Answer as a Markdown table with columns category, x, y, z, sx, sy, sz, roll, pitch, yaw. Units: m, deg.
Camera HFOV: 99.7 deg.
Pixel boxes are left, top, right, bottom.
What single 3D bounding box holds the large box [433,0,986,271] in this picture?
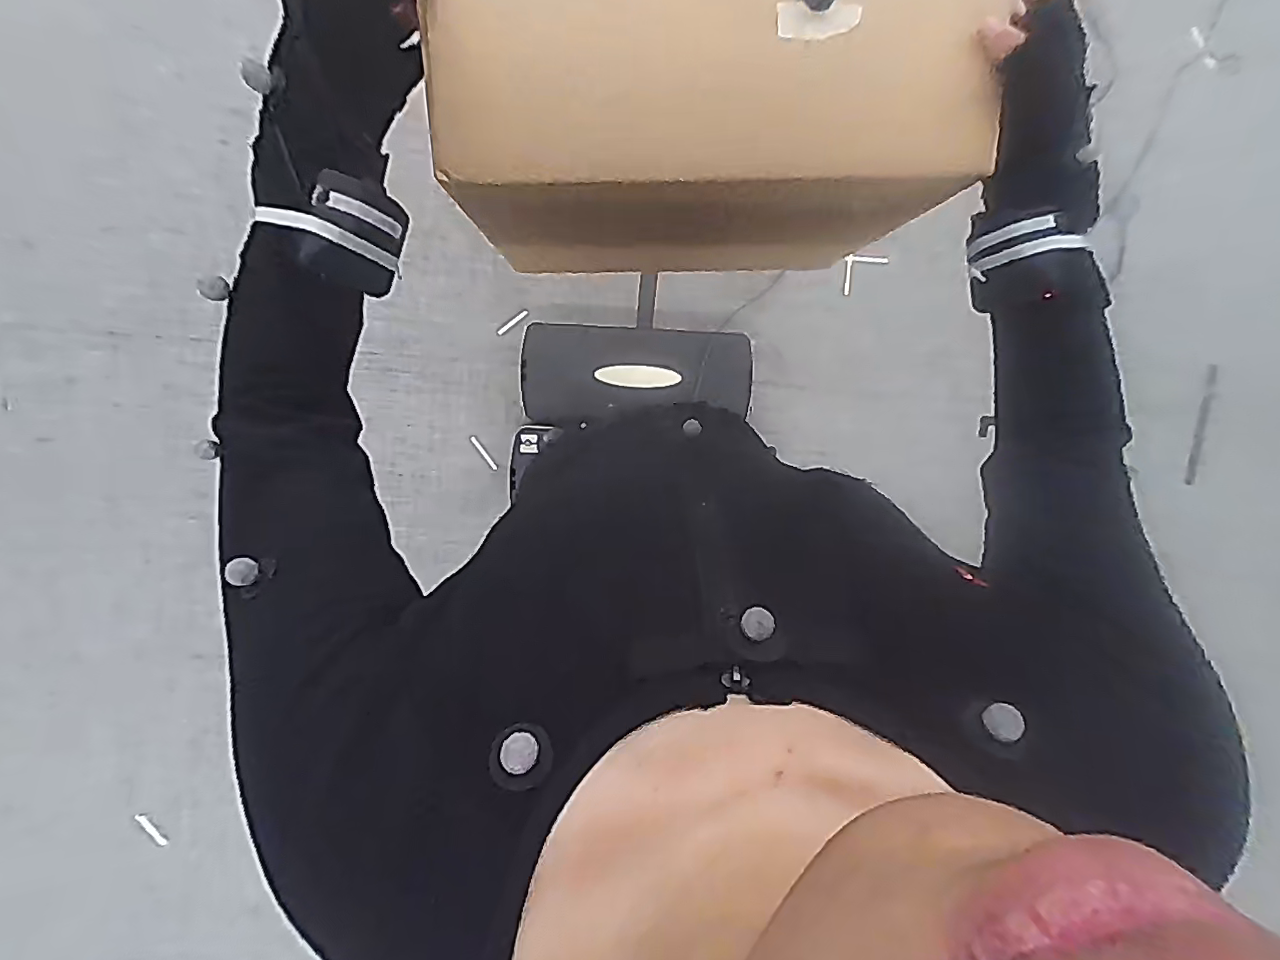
| category | x | y | z | sx | sy | sz | roll | pitch | yaw |
| --- | --- | --- | --- | --- | --- | --- | --- | --- | --- |
| large box | 0.042 | -0.402 | 0.523 | 0.408 | 0.320 | 0.320 | -2 | 100 | -3 |
